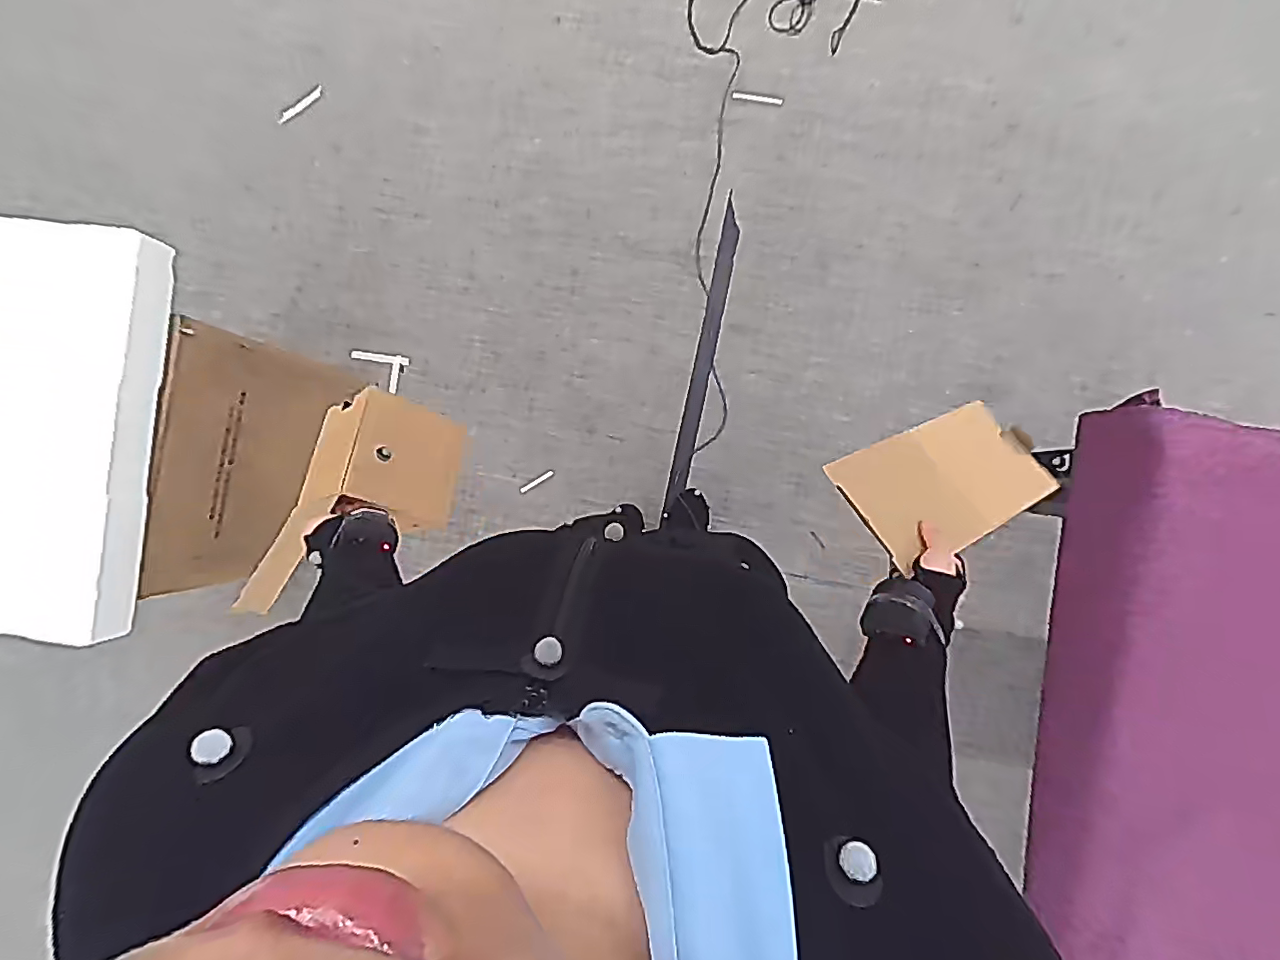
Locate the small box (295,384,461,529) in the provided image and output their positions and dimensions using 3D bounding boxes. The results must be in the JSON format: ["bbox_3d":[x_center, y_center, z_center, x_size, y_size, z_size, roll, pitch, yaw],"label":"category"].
[{"bbox_3d":[-0.411,-0.024,0.865,0.168,0.176,0.179,-11,64,38],"label":"small box"}]
